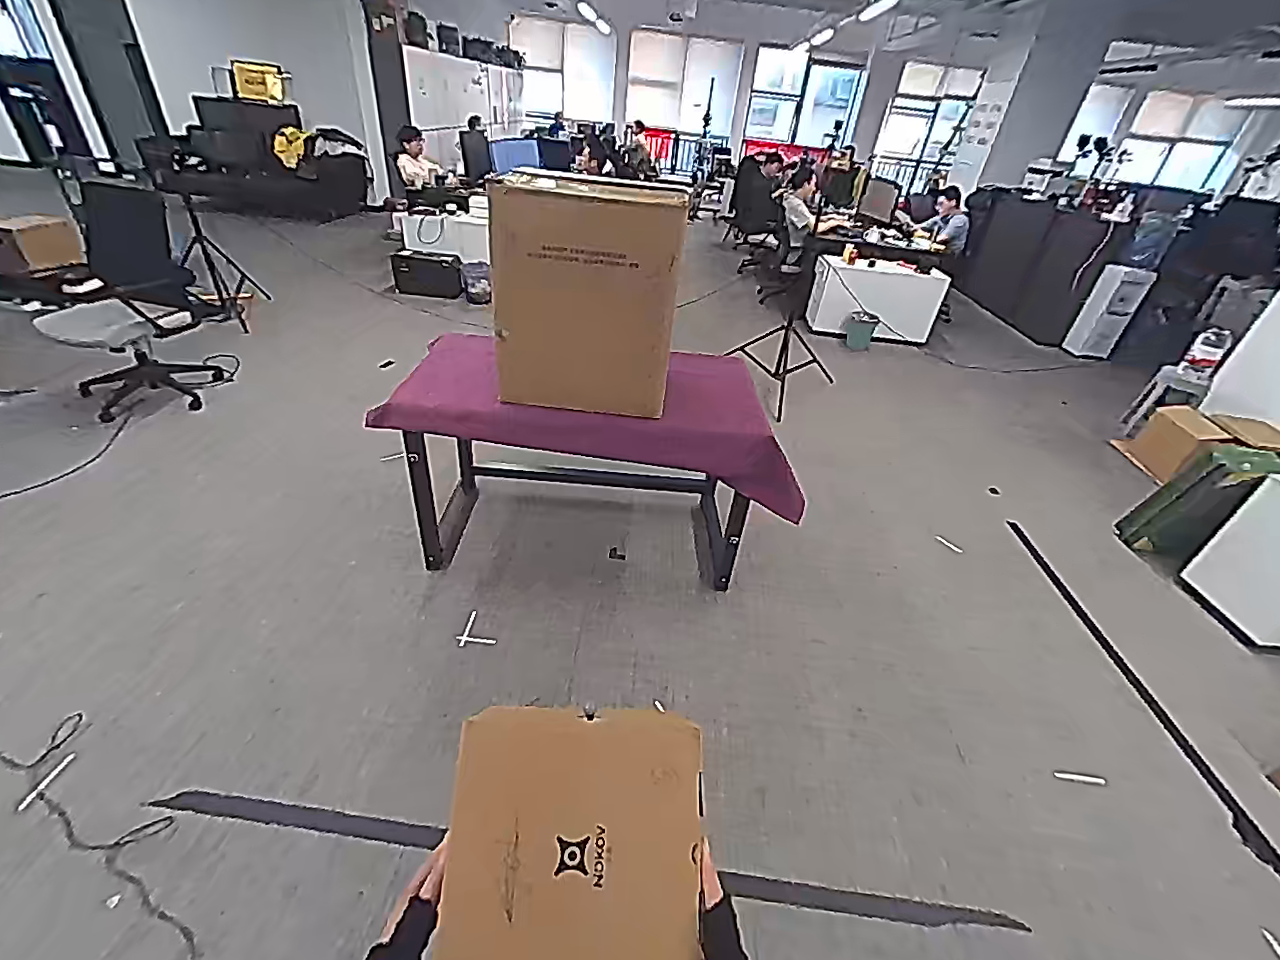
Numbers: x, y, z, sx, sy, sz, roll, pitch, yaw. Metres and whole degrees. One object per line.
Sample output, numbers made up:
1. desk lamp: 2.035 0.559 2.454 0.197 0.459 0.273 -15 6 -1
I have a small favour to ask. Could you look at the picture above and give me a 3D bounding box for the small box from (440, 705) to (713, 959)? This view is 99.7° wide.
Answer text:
1. small box: -0.048 0.275 0.439 0.179 0.176 0.168 3 68 -7
